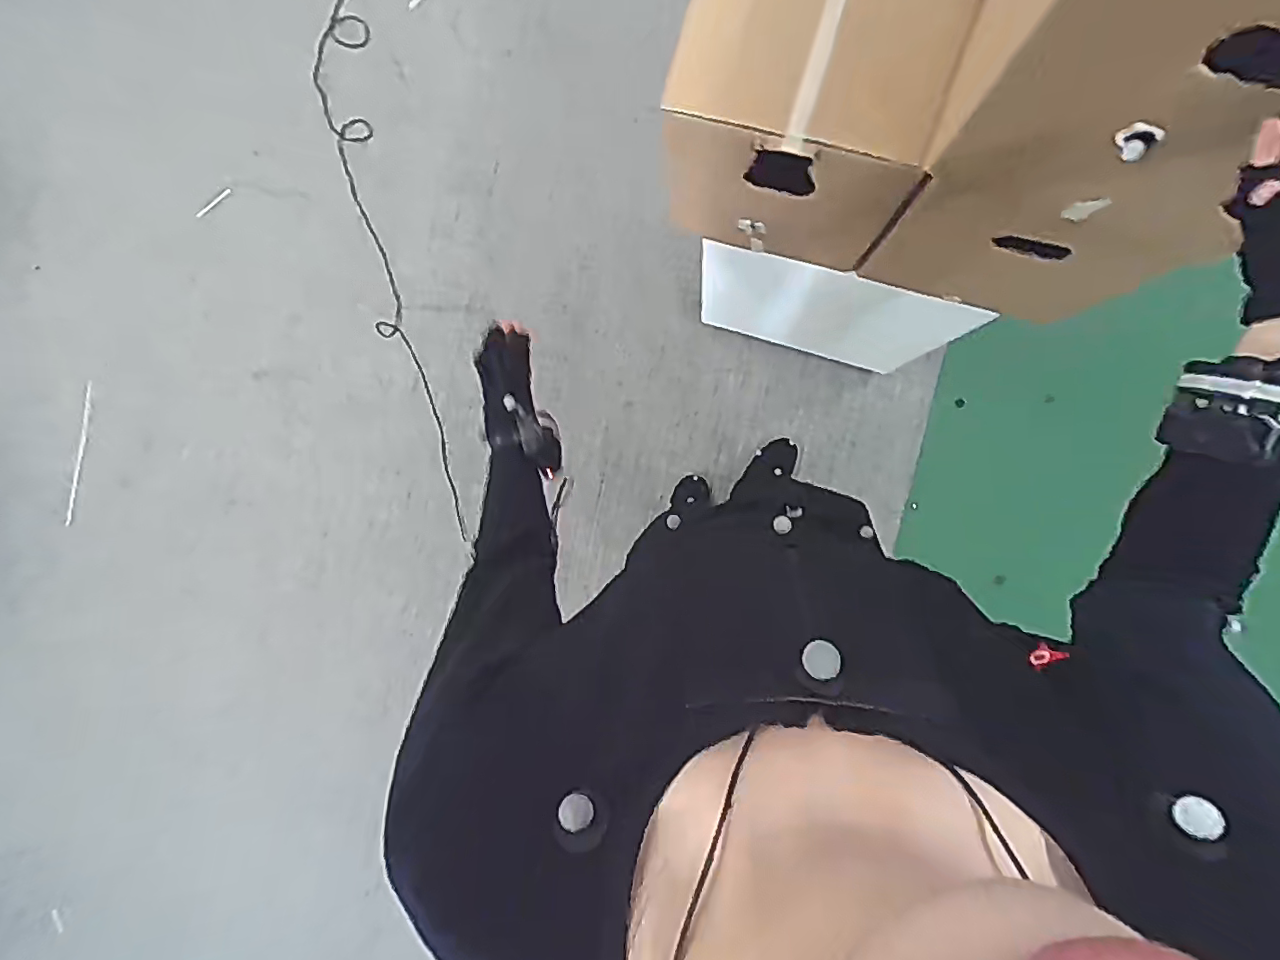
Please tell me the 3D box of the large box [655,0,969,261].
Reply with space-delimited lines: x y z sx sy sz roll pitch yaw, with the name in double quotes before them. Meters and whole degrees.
"large box" 0.231 -0.579 0.742 0.320 0.320 0.408 17 92 6
